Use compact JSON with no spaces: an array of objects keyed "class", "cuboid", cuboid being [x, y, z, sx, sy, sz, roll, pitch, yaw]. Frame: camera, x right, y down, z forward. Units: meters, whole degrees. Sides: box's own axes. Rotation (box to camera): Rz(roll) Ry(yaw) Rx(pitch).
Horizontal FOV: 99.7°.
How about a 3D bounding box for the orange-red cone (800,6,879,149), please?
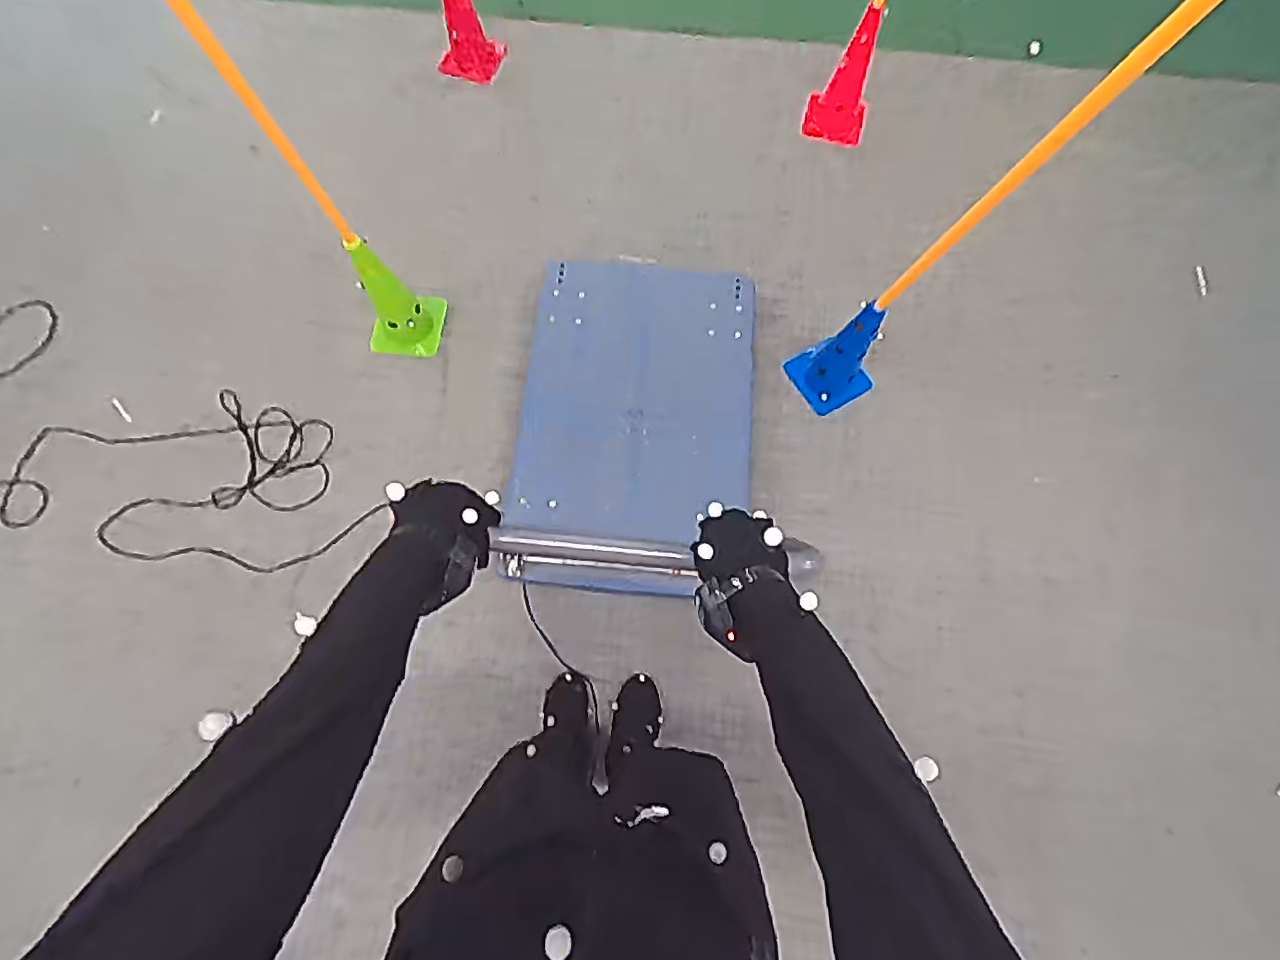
[{"class":"orange-red cone","cuboid":[0.662,-1.280,1.701,0.198,0.360,0.199,17,74,5]}]
